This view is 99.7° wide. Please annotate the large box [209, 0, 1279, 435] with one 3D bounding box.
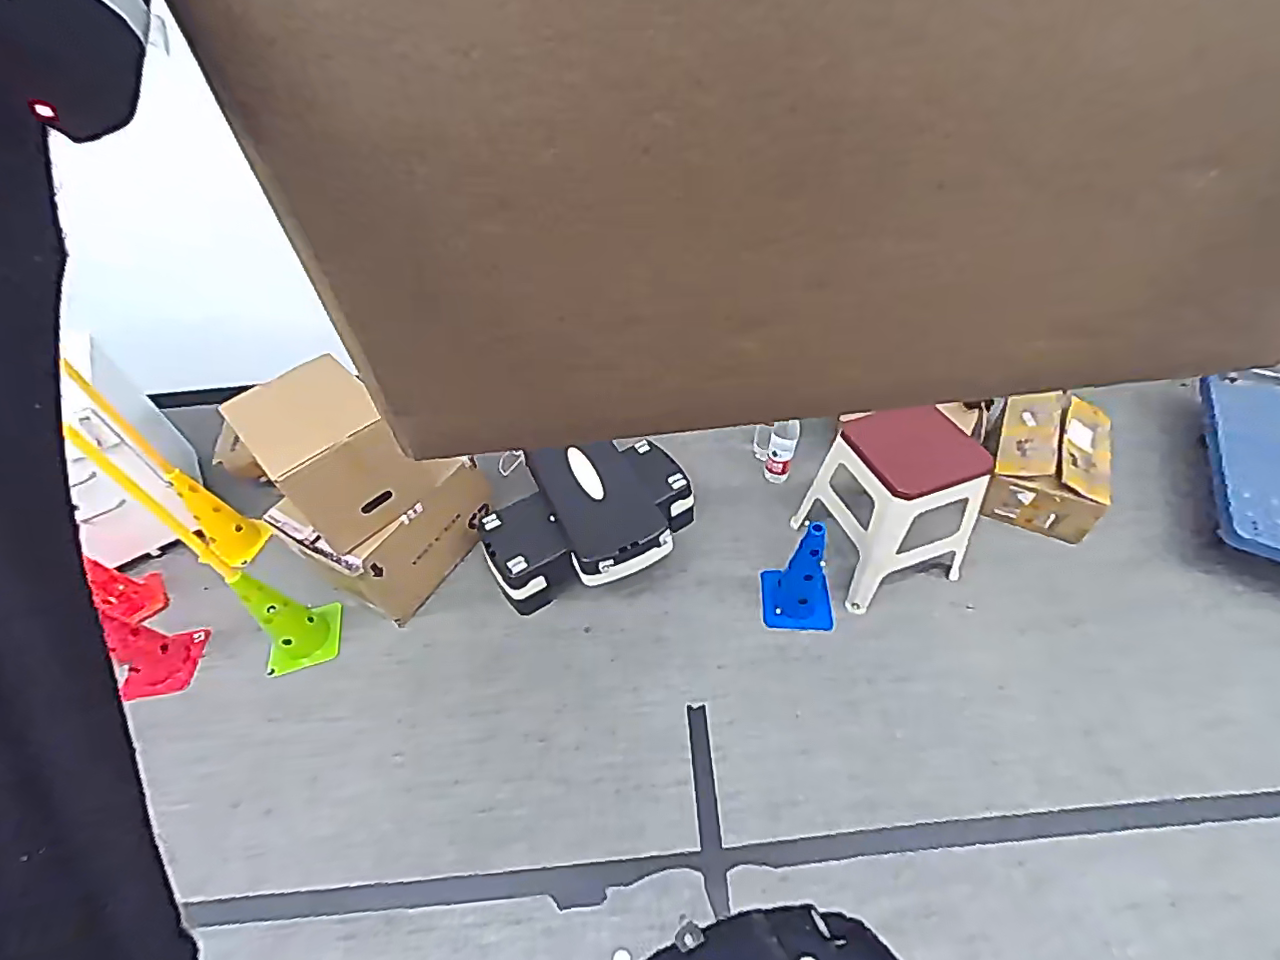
[{"bbox_3d":[0.063,-0.248,0.266,0.408,0.320,0.320,-6,42,1],"label":"large box"}]
